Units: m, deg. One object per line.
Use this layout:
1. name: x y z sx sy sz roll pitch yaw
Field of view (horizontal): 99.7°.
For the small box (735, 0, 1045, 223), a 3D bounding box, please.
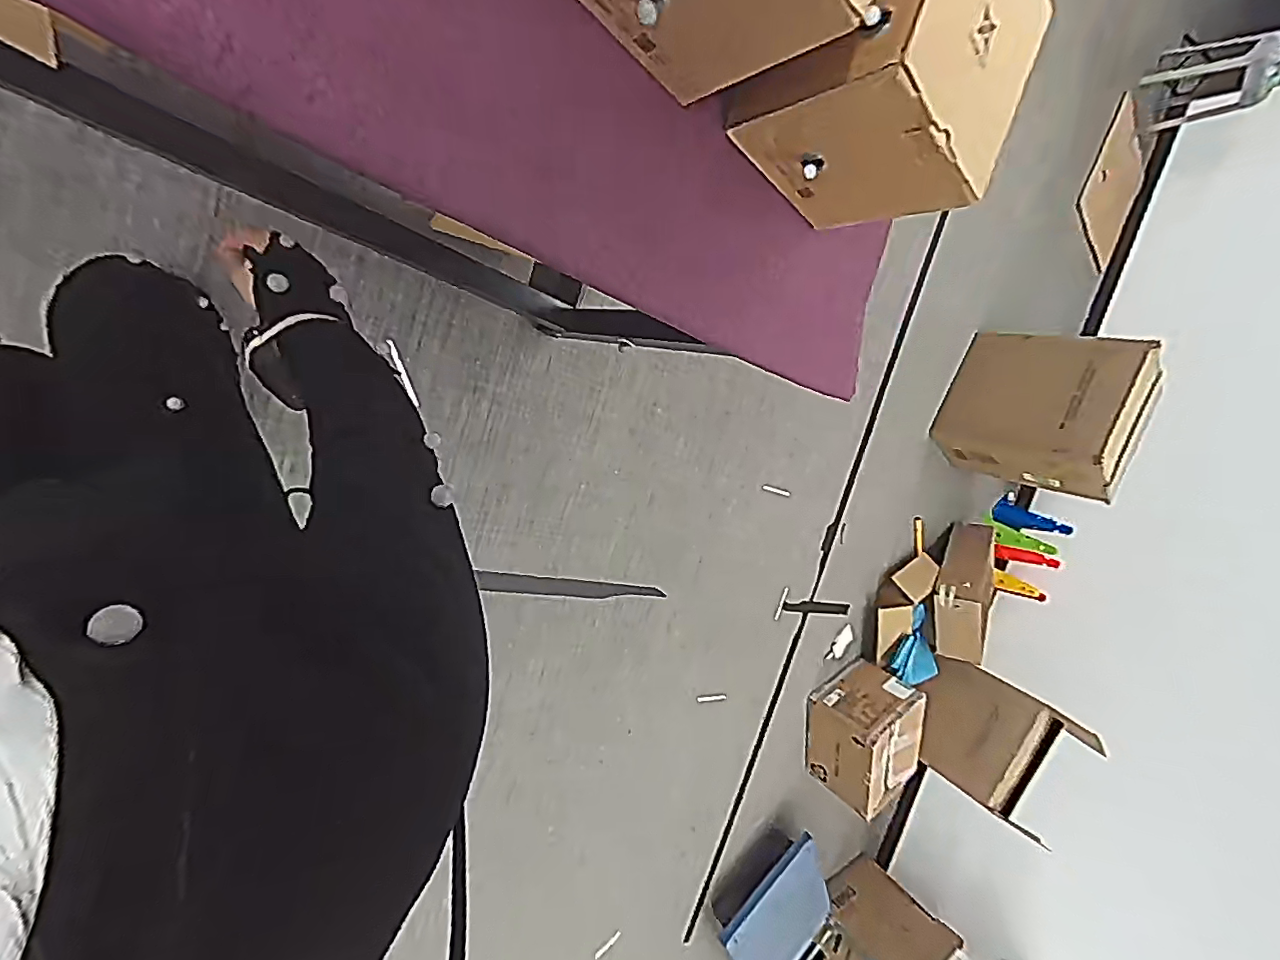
1. small box: 0.211 -0.355 0.473 0.168 0.176 0.179 19 92 -40
